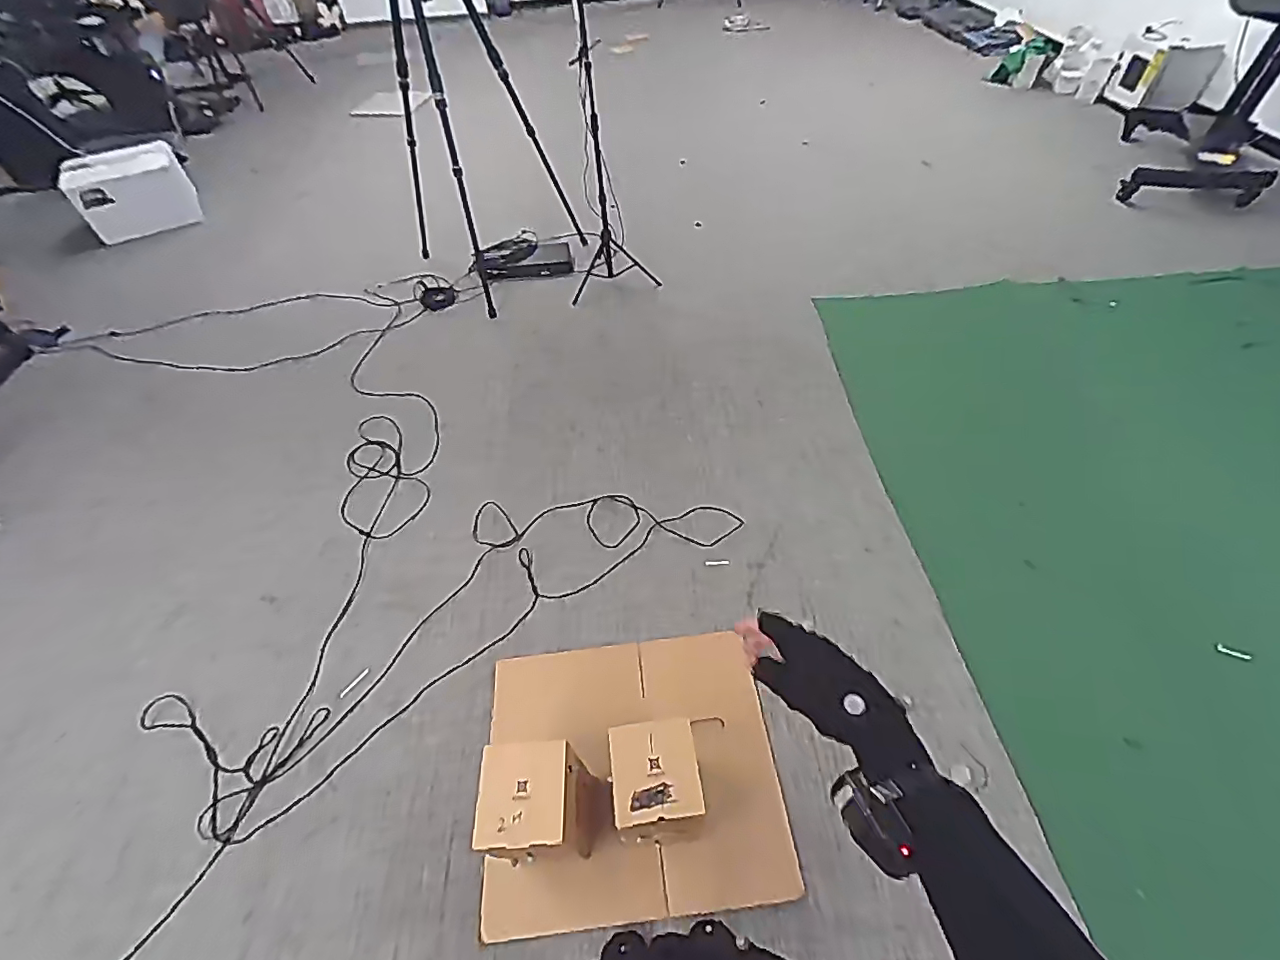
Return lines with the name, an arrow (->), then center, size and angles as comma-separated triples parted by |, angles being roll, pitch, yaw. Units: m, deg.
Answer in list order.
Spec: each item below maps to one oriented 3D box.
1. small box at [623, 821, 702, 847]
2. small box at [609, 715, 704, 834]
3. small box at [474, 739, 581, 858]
small box -> 0.040, 0.702, 1.211 | 0.168, 0.176, 0.179 | -7, 51, -2
small box -> 0.033, 0.596, 1.085 | 0.168, 0.176, 0.179 | -8, 51, -2
small box -> -0.213, 0.632, 1.071 | 0.168, 0.176, 0.179 | -5, 51, 2
